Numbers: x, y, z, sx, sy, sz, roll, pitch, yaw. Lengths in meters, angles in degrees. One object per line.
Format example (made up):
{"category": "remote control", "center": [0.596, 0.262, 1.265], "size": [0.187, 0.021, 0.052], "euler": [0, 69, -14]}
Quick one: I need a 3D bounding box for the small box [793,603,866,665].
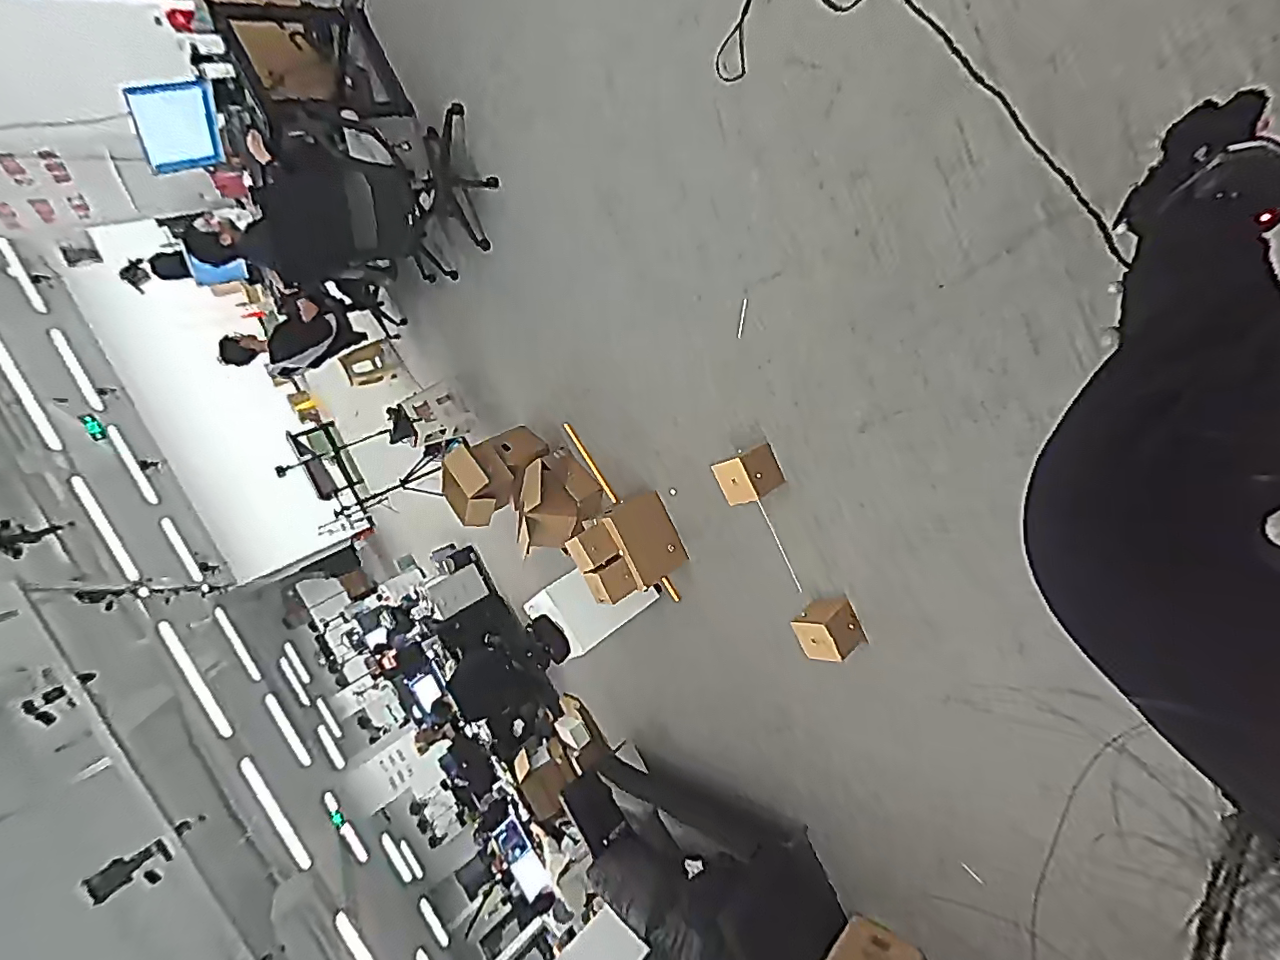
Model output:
{"category": "small box", "center": [0.742, 0.595, 2.107], "size": [0.179, 0.176, 0.168], "euler": [-20, 99, 58]}

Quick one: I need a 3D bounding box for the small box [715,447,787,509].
{"category": "small box", "center": [0.425, -0.012, 2.065], "size": [0.168, 0.176, 0.179], "euler": [-20, 99, 57]}
